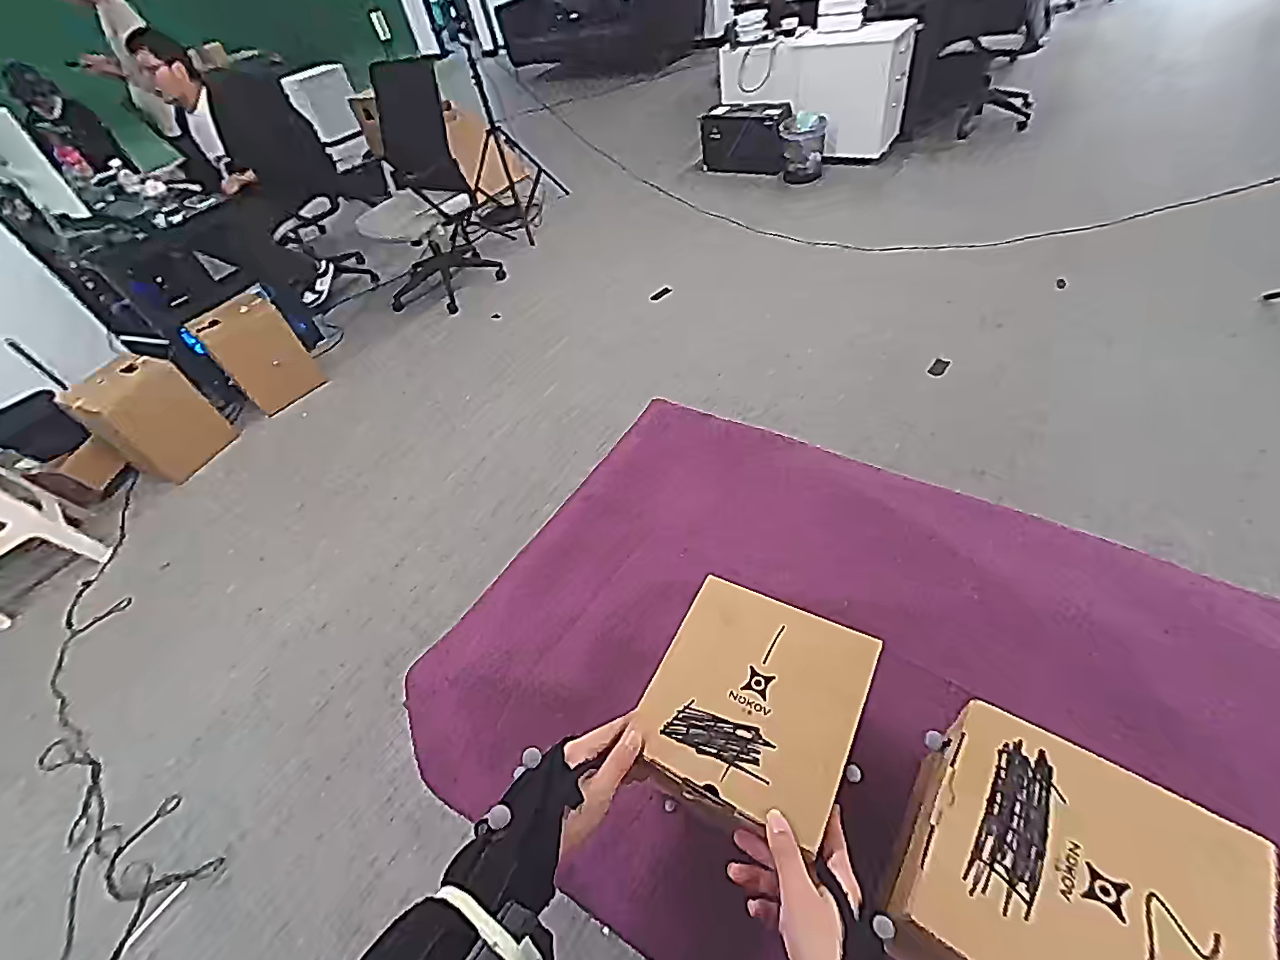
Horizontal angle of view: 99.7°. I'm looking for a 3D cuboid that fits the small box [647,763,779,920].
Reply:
[{"bbox_3d":[0.139,0.648,0.973,0.179,0.176,0.168,17,56,27],"label":"small box"}]
